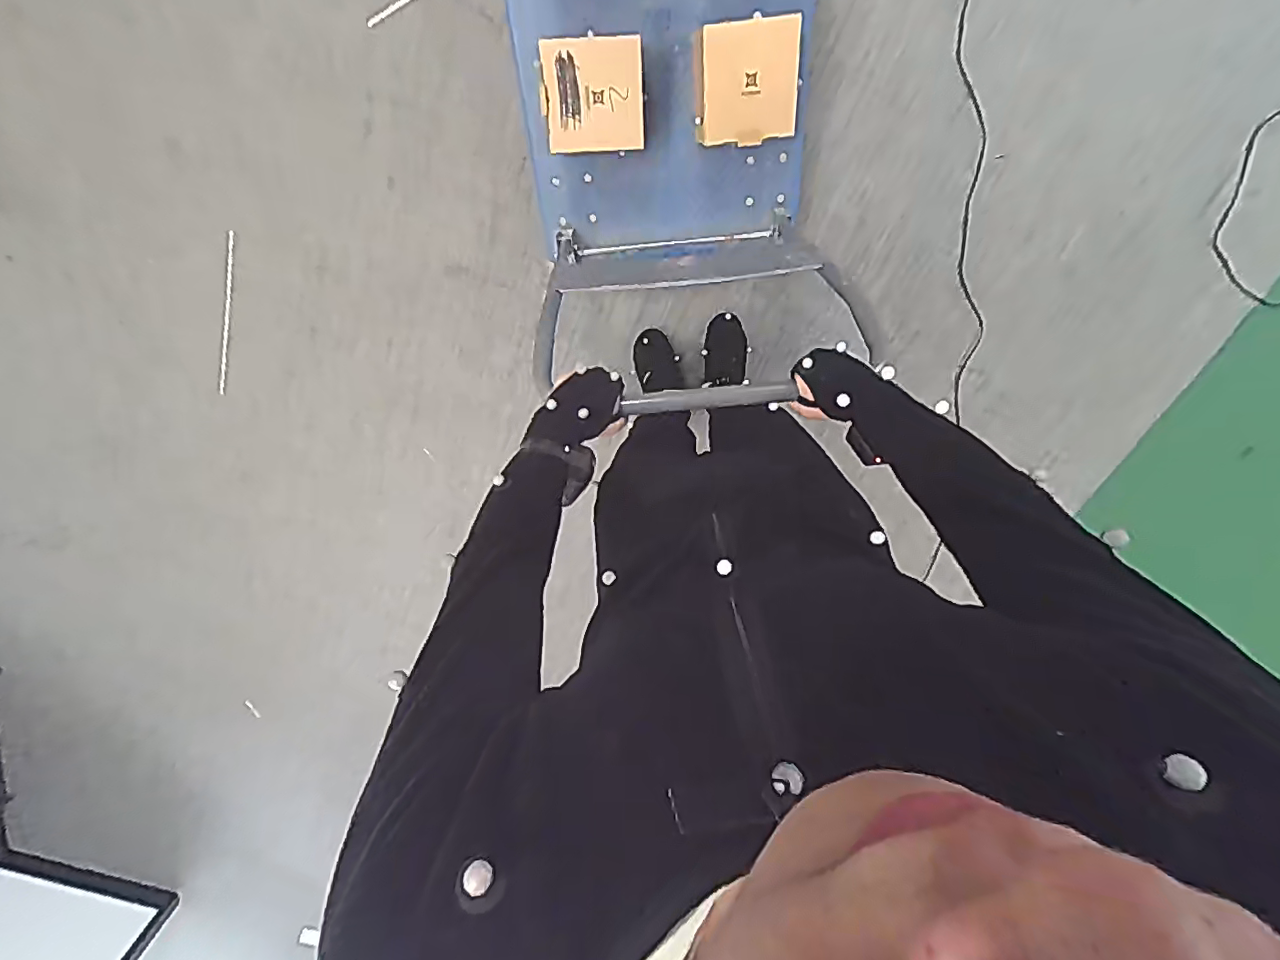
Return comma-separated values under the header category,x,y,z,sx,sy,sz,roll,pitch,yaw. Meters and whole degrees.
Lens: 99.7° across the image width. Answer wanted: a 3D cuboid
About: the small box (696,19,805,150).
category,x,y,z,sx,sy,sz,roll,pitch,yaw
small box,0.197,-0.732,1.010,0.168,0.176,0.179,-5,126,2
